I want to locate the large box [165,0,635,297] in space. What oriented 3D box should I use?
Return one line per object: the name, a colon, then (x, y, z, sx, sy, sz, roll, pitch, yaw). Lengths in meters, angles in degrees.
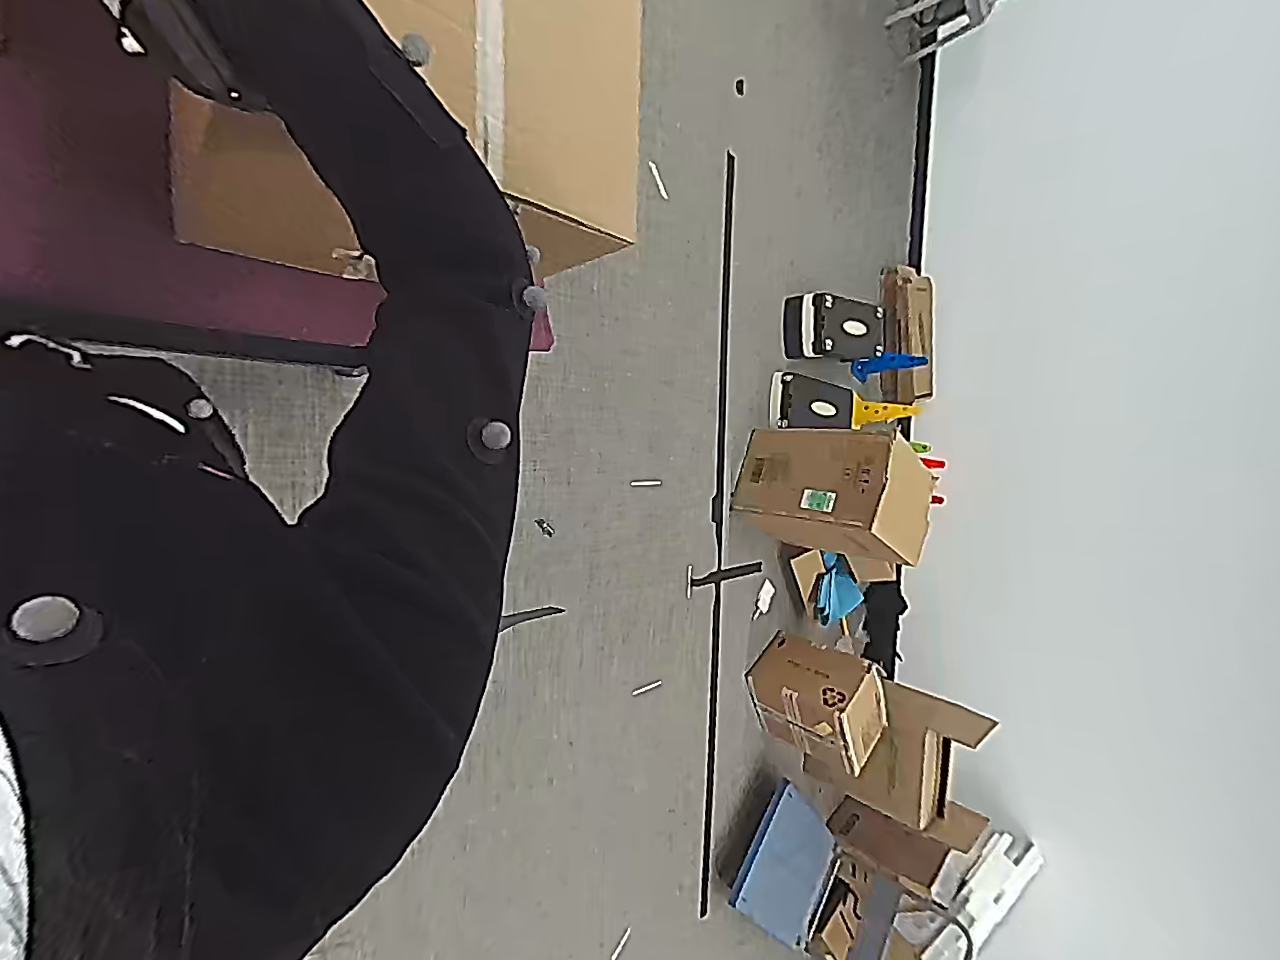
large box: (-0.220, -0.418, 0.489, 0.320, 0.320, 0.408, -4, 95, -45)
